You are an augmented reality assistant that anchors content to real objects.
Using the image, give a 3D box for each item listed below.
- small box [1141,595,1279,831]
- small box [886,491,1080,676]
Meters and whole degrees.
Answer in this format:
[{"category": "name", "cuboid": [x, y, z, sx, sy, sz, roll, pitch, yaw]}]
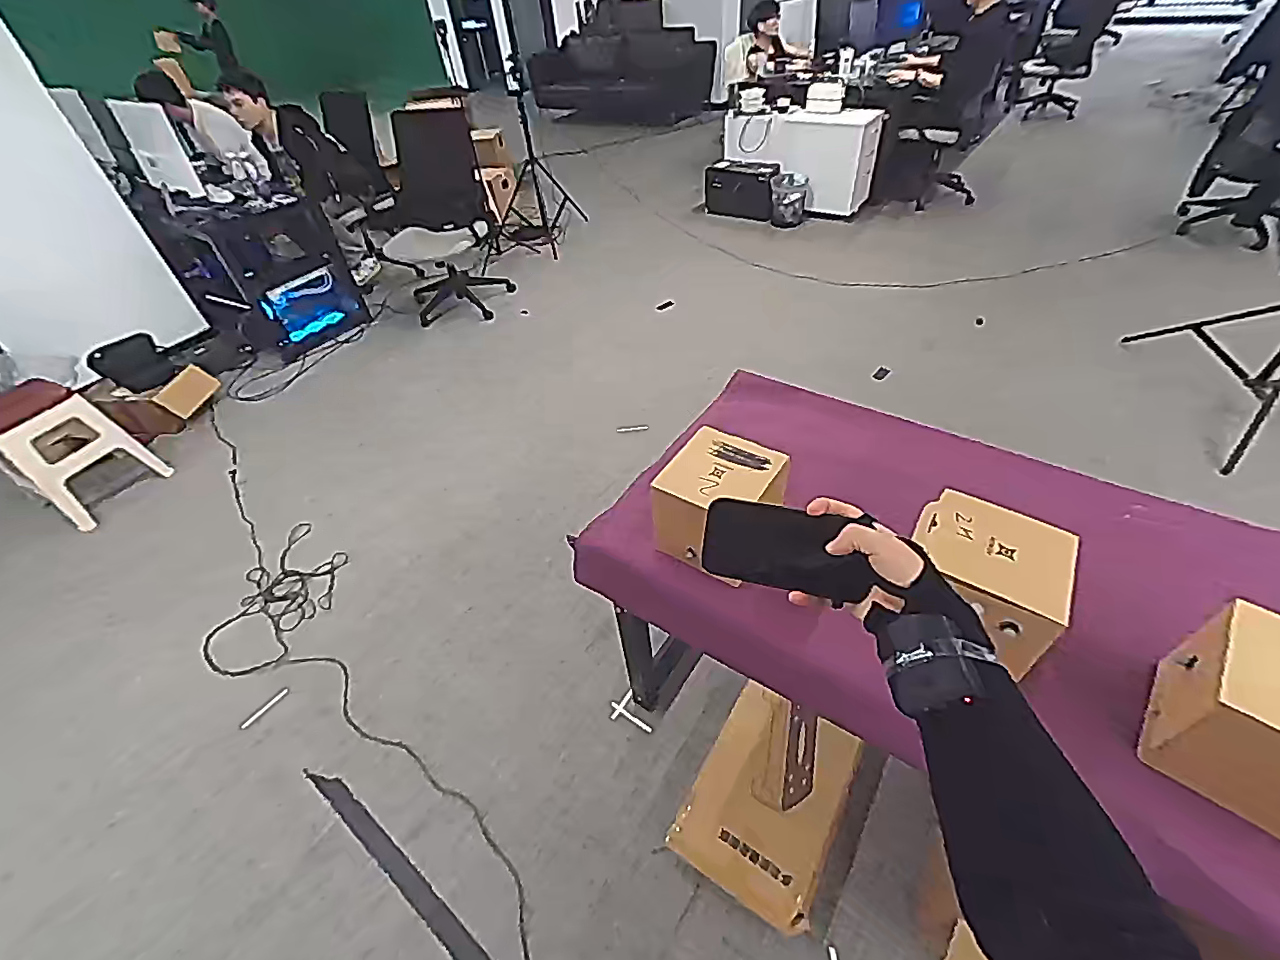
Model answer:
[{"category": "small box", "cuboid": [0.731, 0.274, 0.619, 0.179, 0.176, 0.168, 29, 54, 31]}, {"category": "small box", "cuboid": [0.481, 0.151, 0.774, 0.179, 0.176, 0.168, 22, 49, 26]}]
